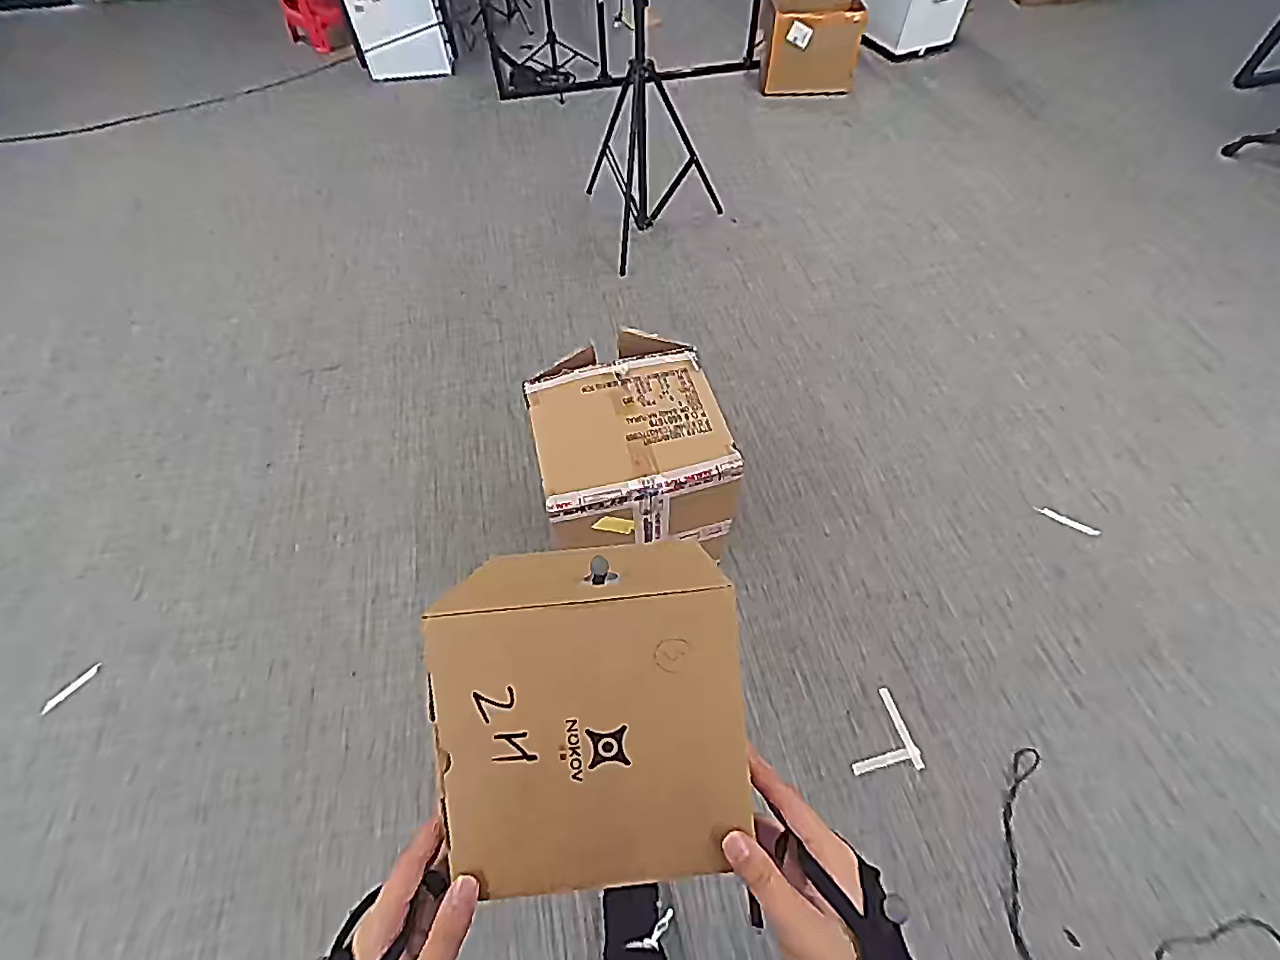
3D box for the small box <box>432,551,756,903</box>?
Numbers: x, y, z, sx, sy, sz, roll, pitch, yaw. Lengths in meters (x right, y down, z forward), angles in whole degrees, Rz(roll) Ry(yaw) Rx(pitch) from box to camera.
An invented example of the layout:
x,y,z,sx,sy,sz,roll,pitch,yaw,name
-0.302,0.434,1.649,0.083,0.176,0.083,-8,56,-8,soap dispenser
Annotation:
x,y,z,sx,sy,sz,roll,pitch,yaw,name
-0.028,0.149,0.388,0.179,0.176,0.168,-5,92,-2,small box
